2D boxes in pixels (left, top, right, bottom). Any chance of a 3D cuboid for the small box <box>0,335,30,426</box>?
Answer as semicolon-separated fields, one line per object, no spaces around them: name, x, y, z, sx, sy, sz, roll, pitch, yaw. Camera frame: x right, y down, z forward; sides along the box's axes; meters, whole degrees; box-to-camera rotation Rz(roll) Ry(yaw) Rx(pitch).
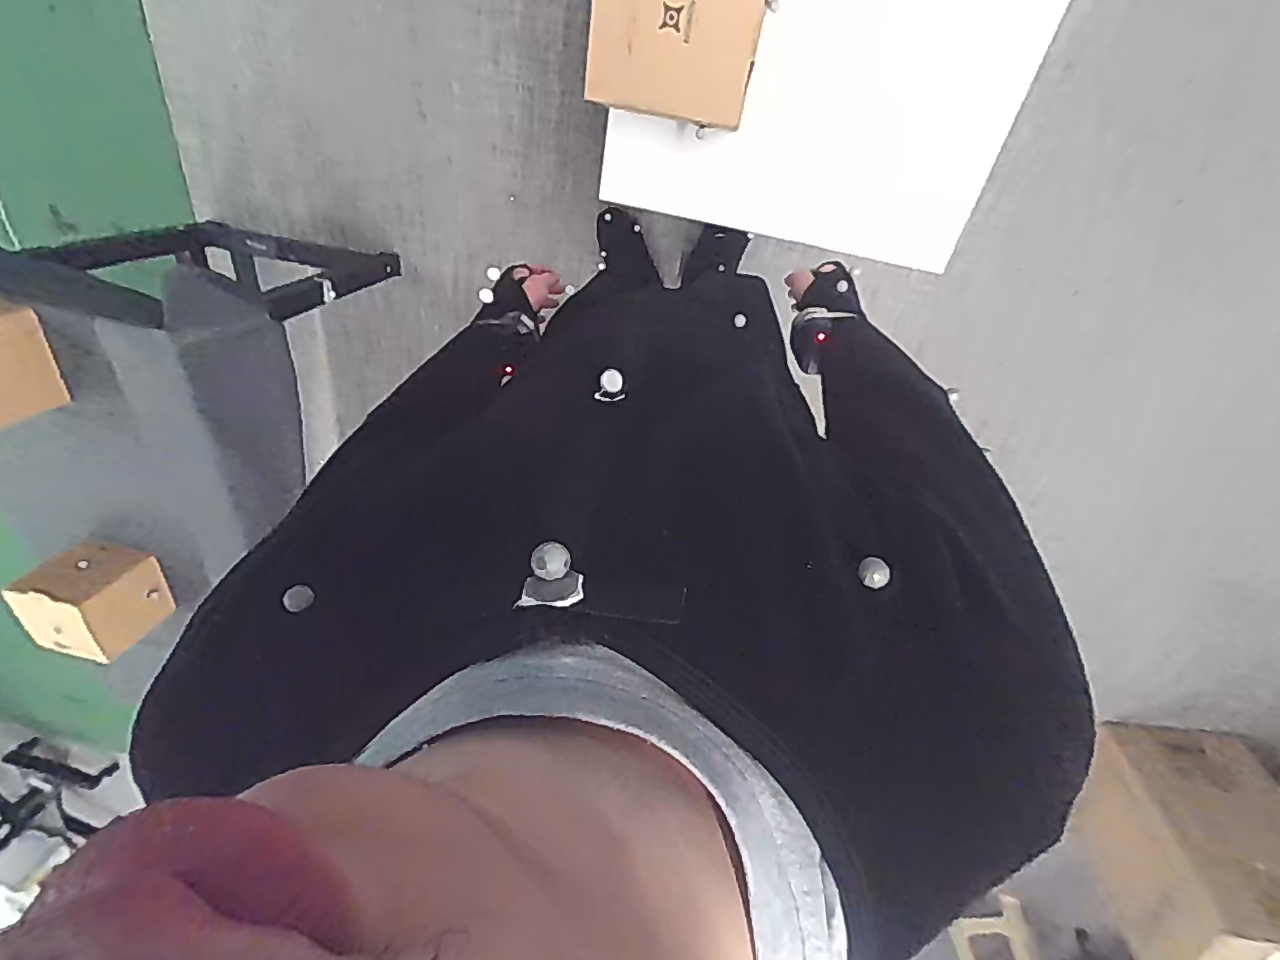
small box;-1.108;-0.159;0.817;0.168;0.176;0.179;13;122;0

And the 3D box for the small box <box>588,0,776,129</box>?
small box;0.050;-0.501;0.601;0.179;0.176;0.168;11;121;1

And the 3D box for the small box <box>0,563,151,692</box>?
small box;-1.167;0.294;1.104;0.168;0.176;0.179;12;121;1
